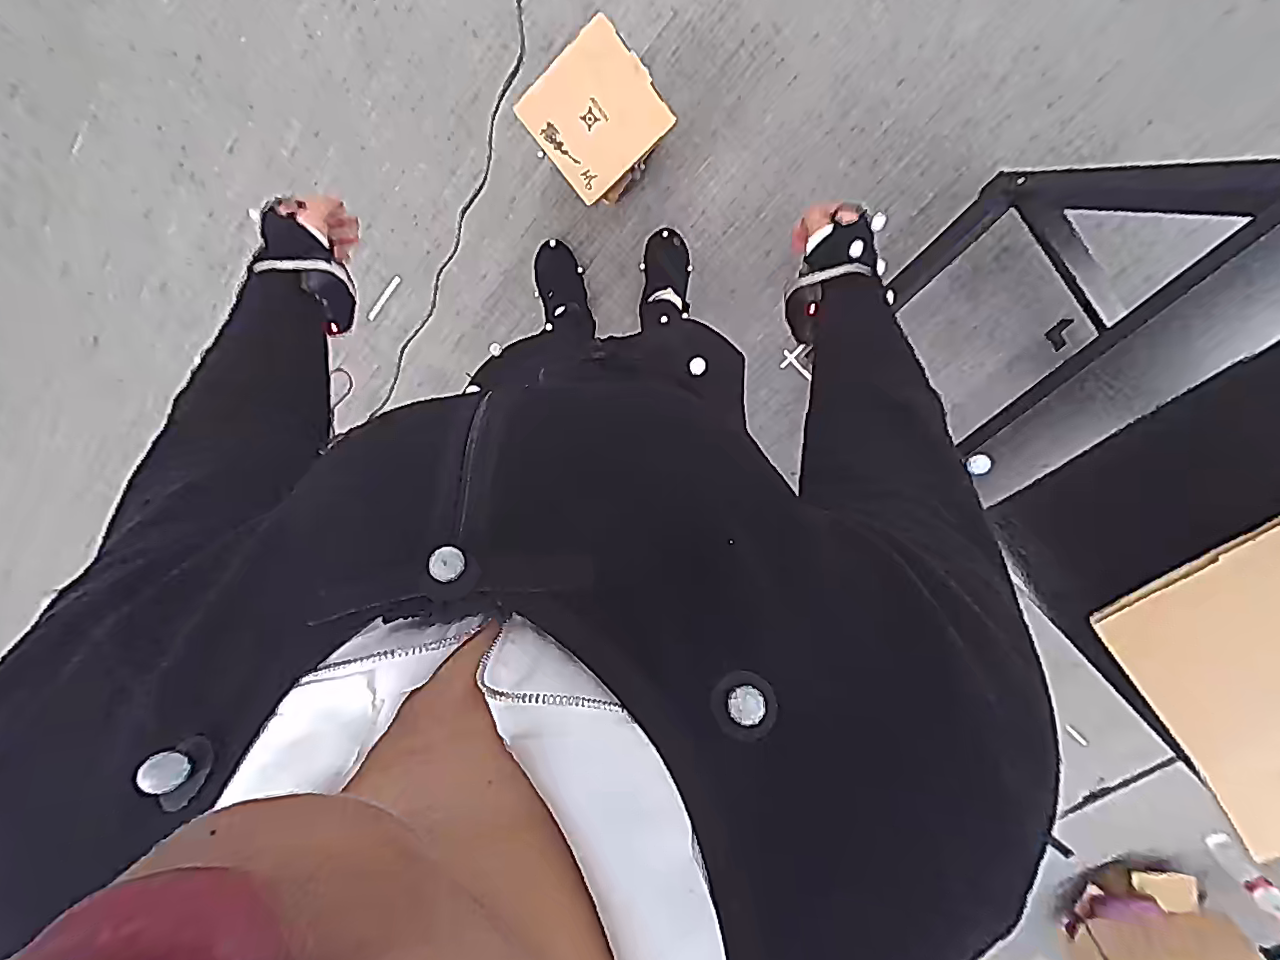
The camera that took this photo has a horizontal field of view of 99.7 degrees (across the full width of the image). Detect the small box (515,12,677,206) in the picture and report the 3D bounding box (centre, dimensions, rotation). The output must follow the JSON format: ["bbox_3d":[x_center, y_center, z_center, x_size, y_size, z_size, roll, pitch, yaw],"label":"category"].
[{"bbox_3d":[-0.066,-0.558,0.841,0.179,0.176,0.168,-37,113,16],"label":"small box"}]
